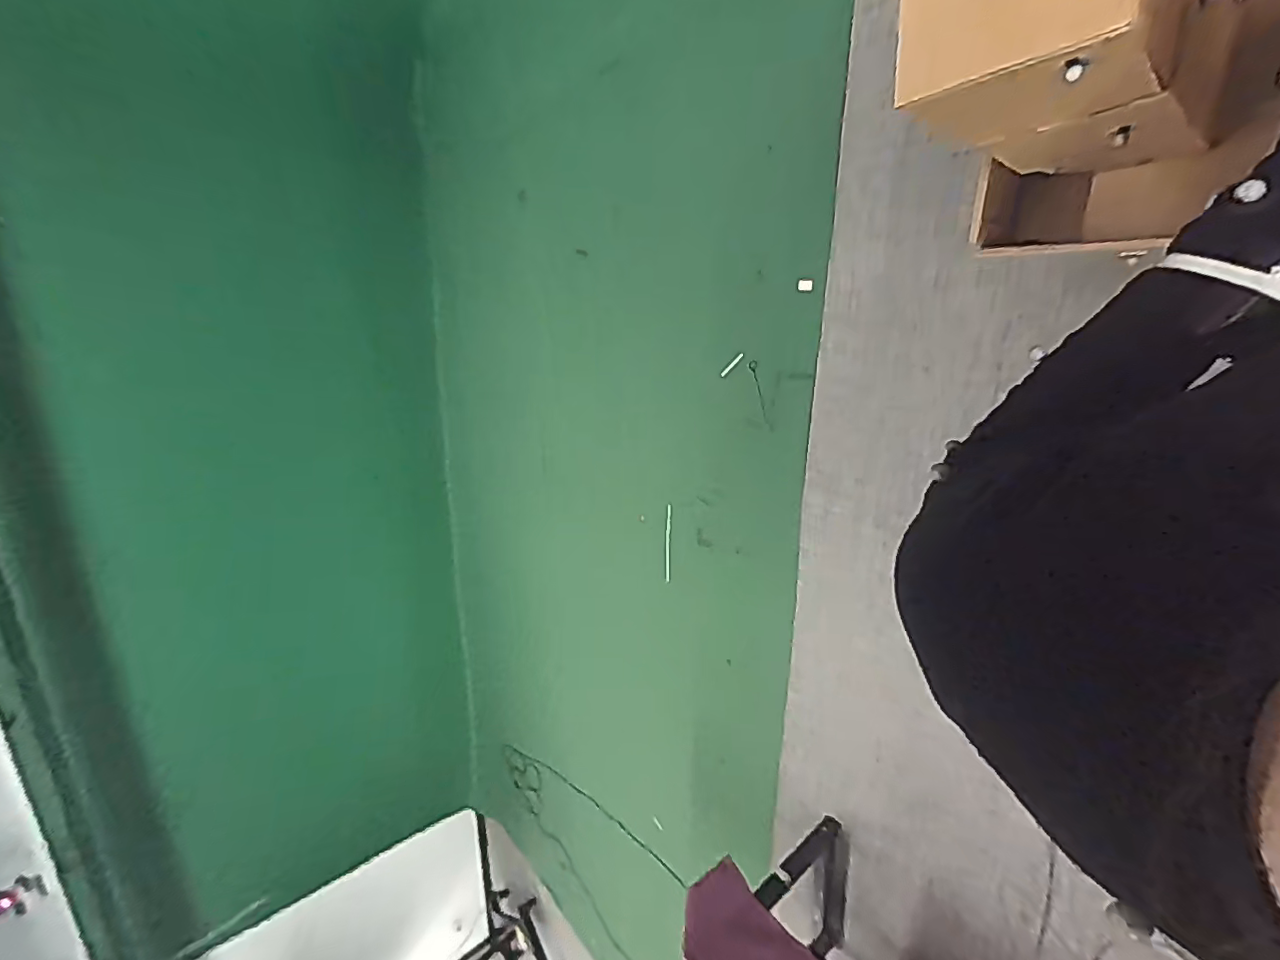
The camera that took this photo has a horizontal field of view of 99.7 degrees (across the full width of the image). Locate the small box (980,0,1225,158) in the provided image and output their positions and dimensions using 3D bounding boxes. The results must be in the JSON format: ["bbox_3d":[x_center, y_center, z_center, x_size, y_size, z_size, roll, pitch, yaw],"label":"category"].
[{"bbox_3d":[0.494,-0.465,0.579,0.168,0.176,0.179,15,111,48],"label":"small box"}]

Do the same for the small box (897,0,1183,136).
[{"bbox_3d":[0.362,-0.439,0.487,0.179,0.176,0.168,12,110,48],"label":"small box"}]
